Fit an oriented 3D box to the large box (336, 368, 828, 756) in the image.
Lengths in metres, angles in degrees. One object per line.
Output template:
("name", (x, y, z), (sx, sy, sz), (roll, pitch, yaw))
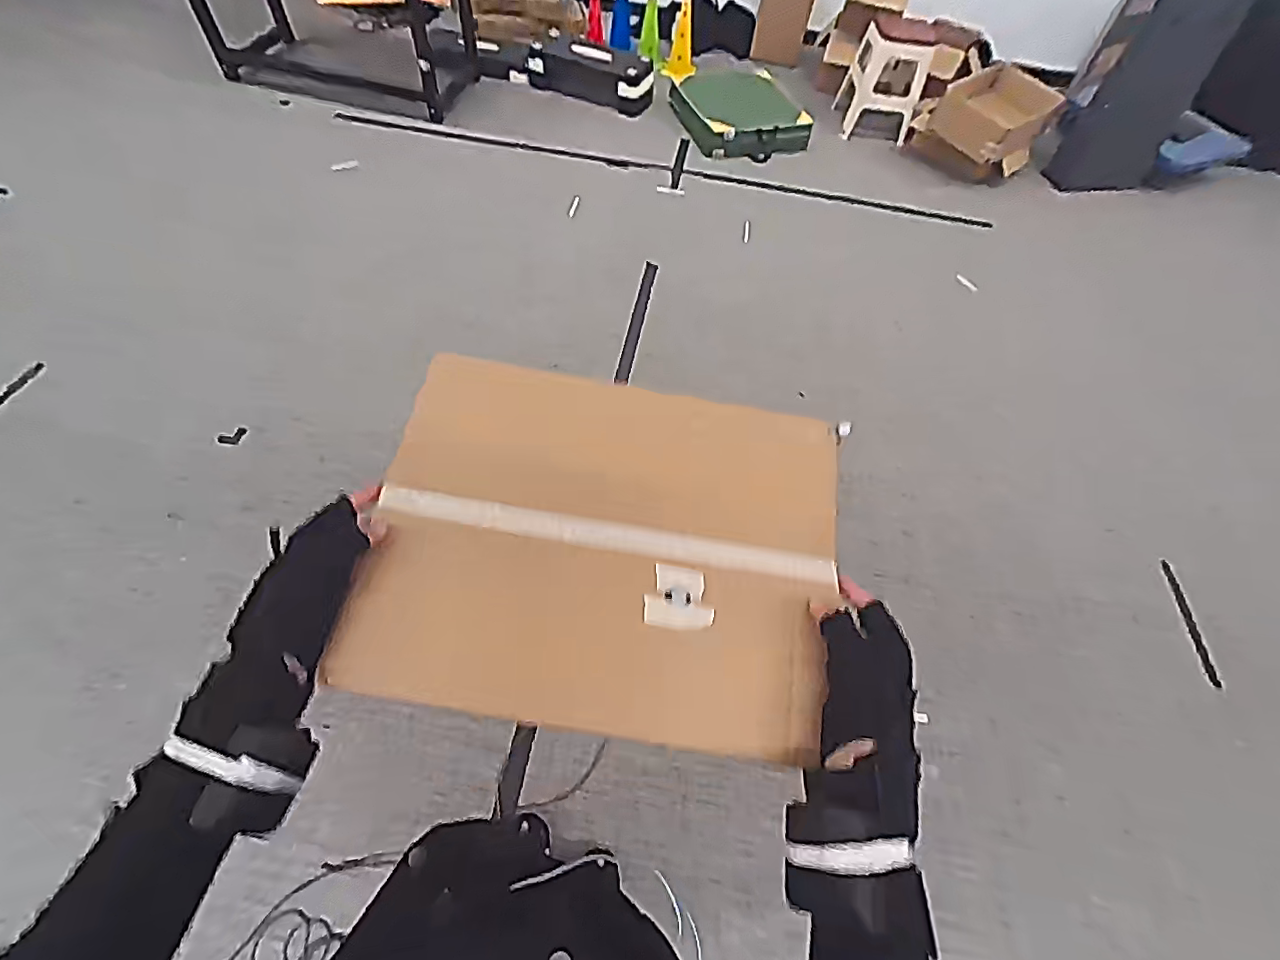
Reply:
("large box", (-0.039, 0.113, 0.624), (0.408, 0.320, 0.320), (10, 66, -1))
